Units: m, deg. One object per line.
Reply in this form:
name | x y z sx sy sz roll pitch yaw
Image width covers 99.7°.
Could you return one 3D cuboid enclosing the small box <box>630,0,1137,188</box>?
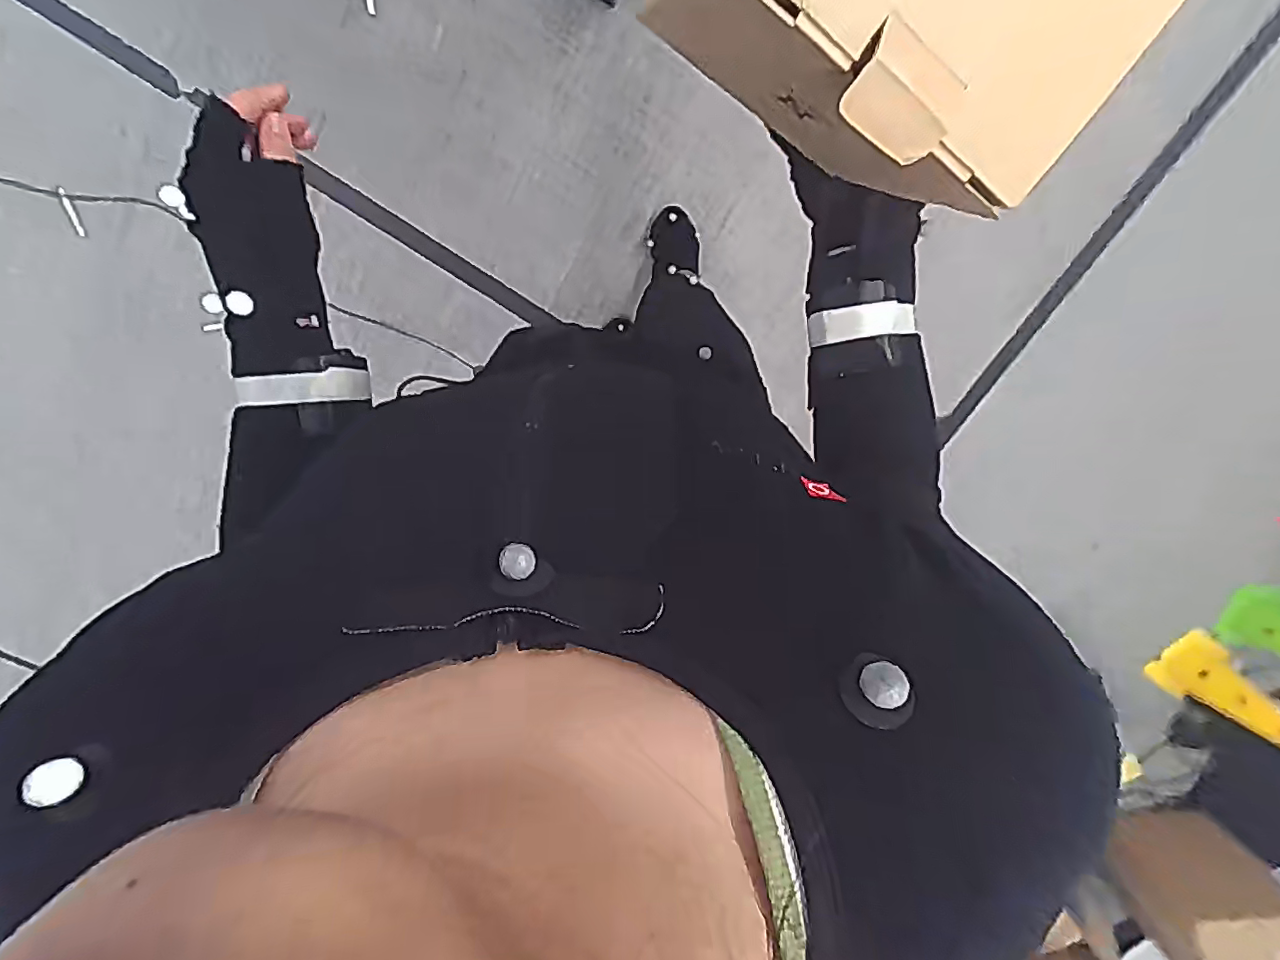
small box | 0.119 -0.267 0.246 0.168 0.179 0.176 20 117 -26
